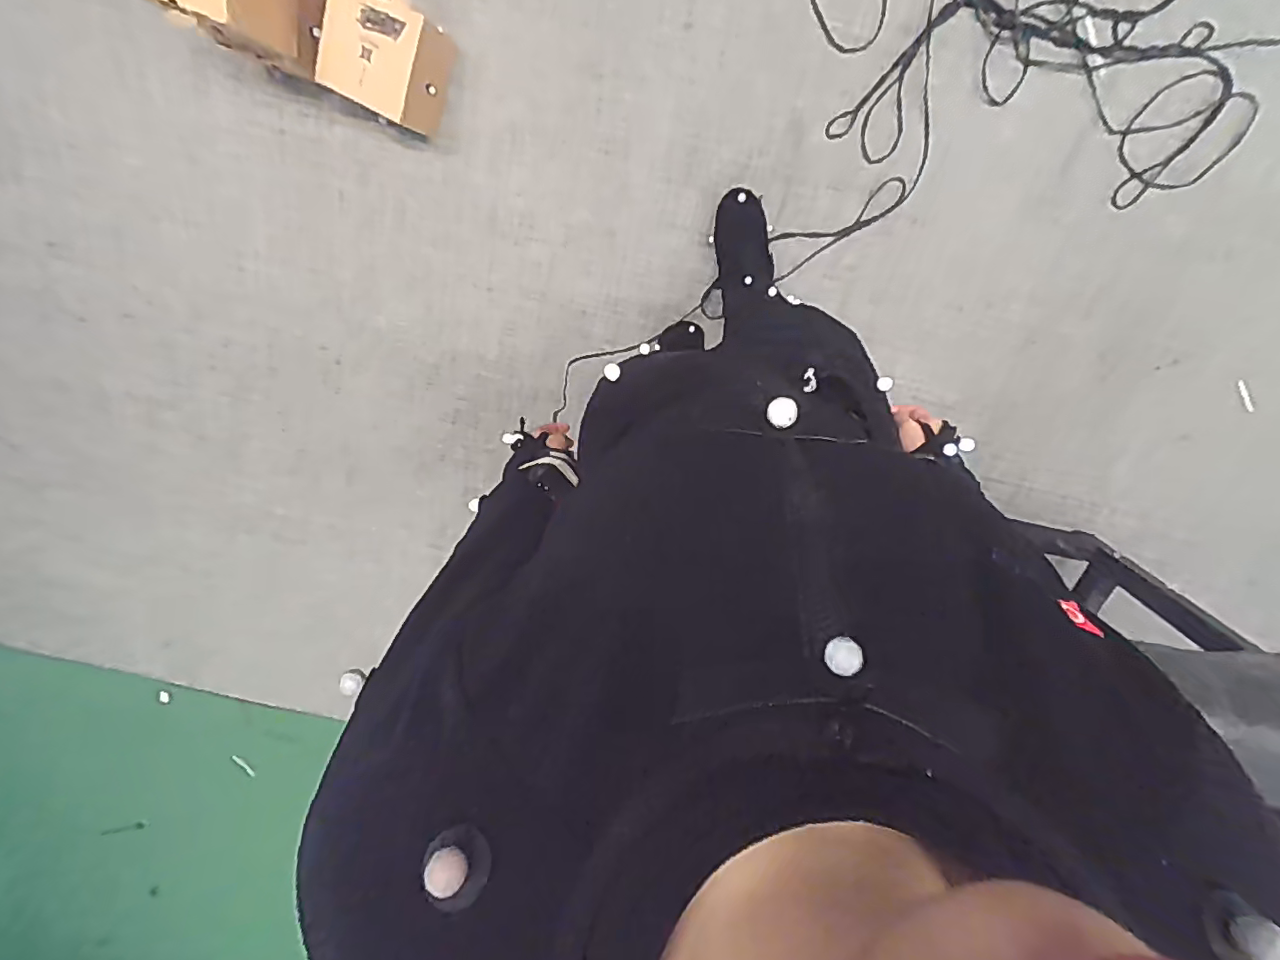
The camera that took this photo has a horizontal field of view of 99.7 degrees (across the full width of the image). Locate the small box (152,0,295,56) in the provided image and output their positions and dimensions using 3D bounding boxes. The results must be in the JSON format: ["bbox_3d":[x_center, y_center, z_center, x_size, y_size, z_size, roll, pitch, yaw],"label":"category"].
[{"bbox_3d":[-0.669,-0.815,0.846,0.168,0.176,0.179,16,113,-4],"label":"small box"}]

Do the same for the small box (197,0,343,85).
[{"bbox_3d":[-0.677,-0.870,1.001,0.168,0.176,0.179,16,114,-4],"label":"small box"}]
